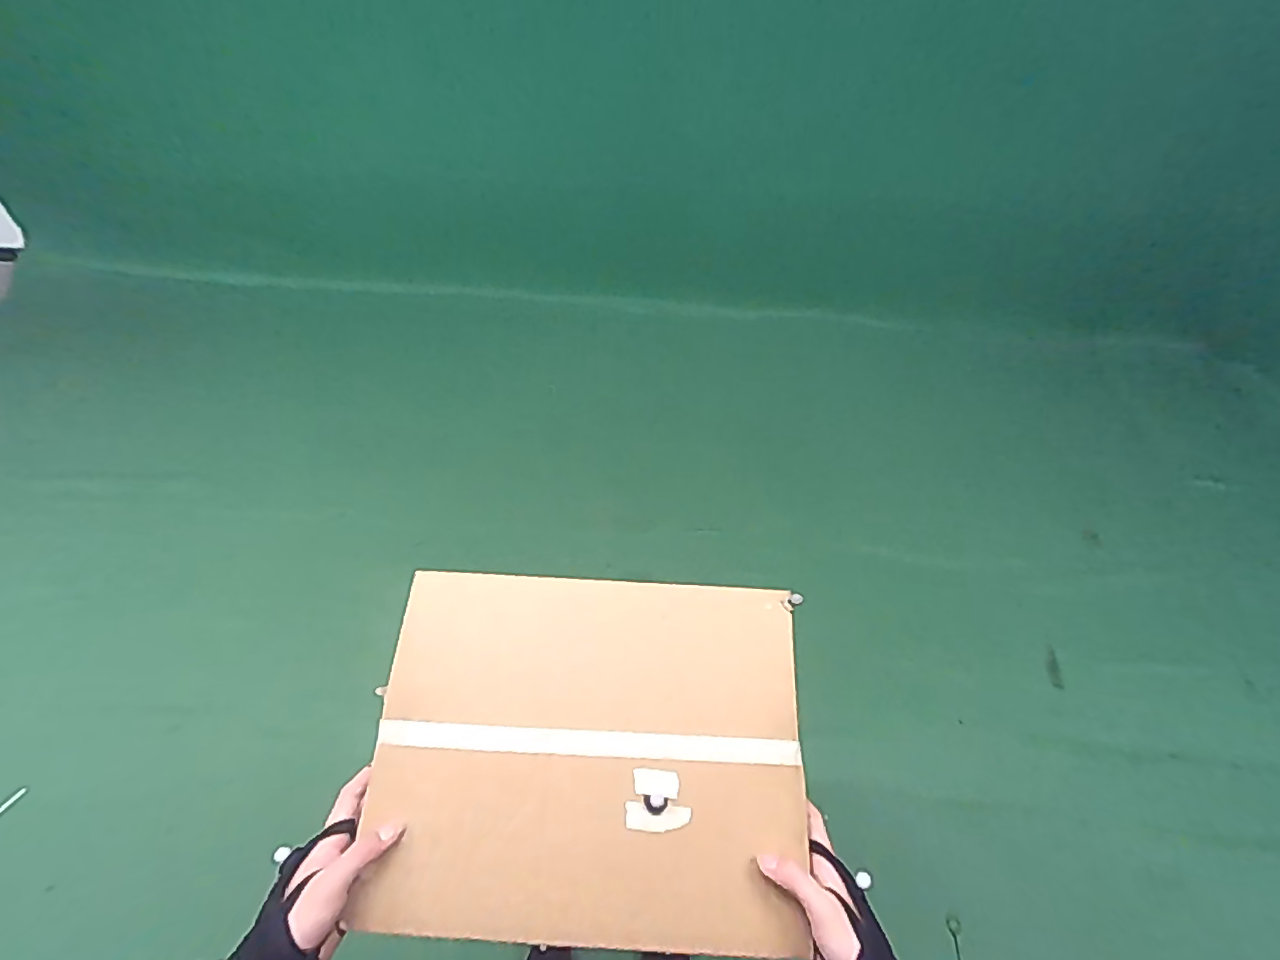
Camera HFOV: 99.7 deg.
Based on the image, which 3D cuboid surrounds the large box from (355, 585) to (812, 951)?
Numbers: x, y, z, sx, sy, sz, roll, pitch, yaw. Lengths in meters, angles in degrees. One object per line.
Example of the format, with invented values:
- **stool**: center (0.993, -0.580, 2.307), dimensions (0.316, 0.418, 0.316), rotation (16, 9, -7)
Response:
- **large box**: center (-0.049, 0.322, 0.660), dimensions (0.408, 0.320, 0.320), rotation (3, 66, 0)
